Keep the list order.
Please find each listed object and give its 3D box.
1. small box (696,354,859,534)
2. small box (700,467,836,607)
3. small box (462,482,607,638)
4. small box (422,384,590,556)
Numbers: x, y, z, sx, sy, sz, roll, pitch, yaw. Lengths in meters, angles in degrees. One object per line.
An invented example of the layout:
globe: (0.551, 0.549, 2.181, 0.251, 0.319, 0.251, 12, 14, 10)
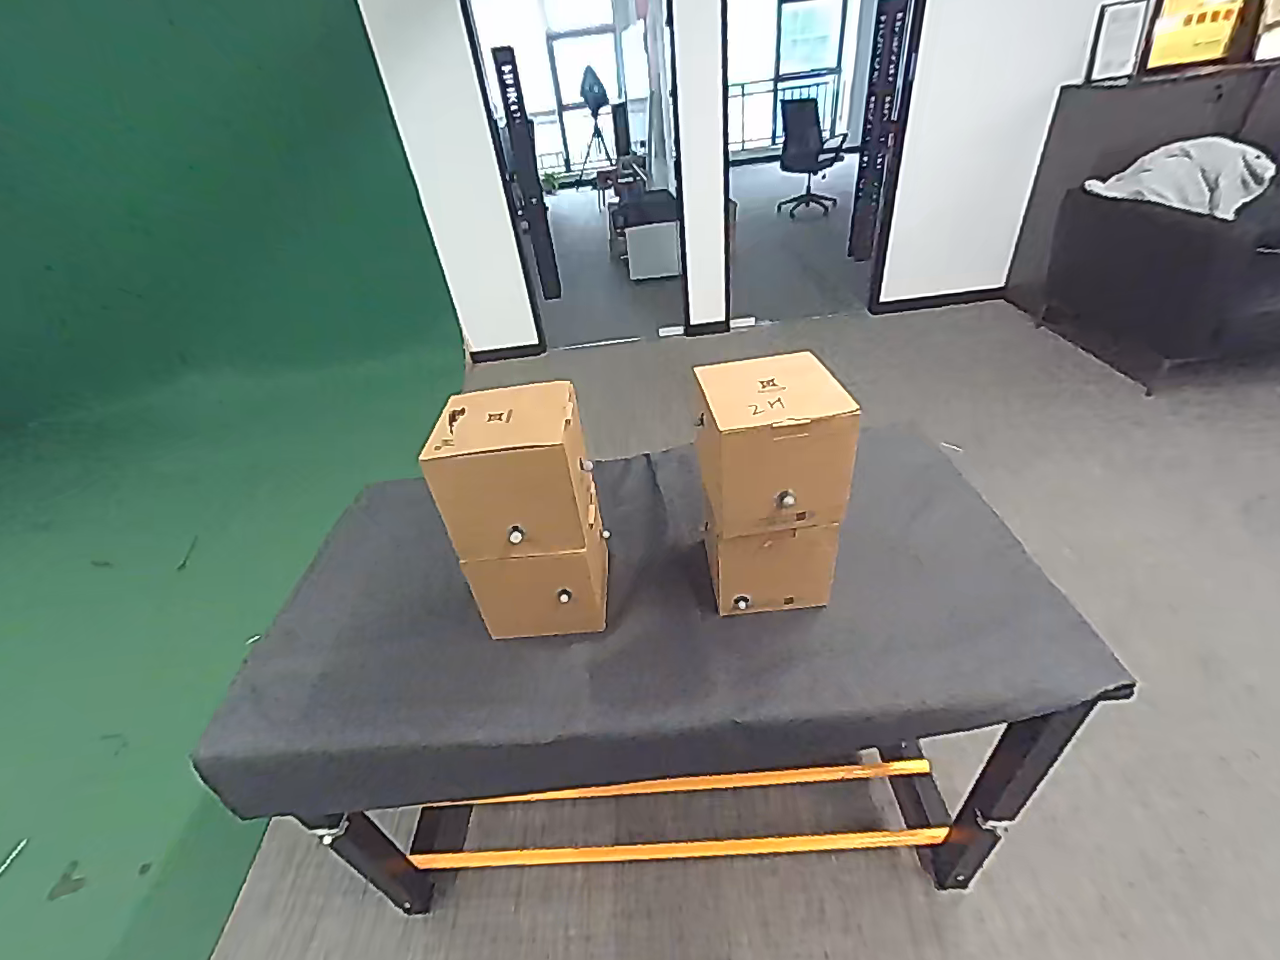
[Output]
small box: (0.172, -0.051, 0.732, 0.168, 0.176, 0.179, -9, 36, -1)
small box: (0.187, 0.080, 0.831, 0.168, 0.176, 0.179, -6, 35, 1)
small box: (-0.147, 0.123, 0.833, 0.179, 0.176, 0.168, -6, 35, 3)
small box: (-0.166, -0.013, 0.743, 0.179, 0.176, 0.168, -6, 35, 1)
